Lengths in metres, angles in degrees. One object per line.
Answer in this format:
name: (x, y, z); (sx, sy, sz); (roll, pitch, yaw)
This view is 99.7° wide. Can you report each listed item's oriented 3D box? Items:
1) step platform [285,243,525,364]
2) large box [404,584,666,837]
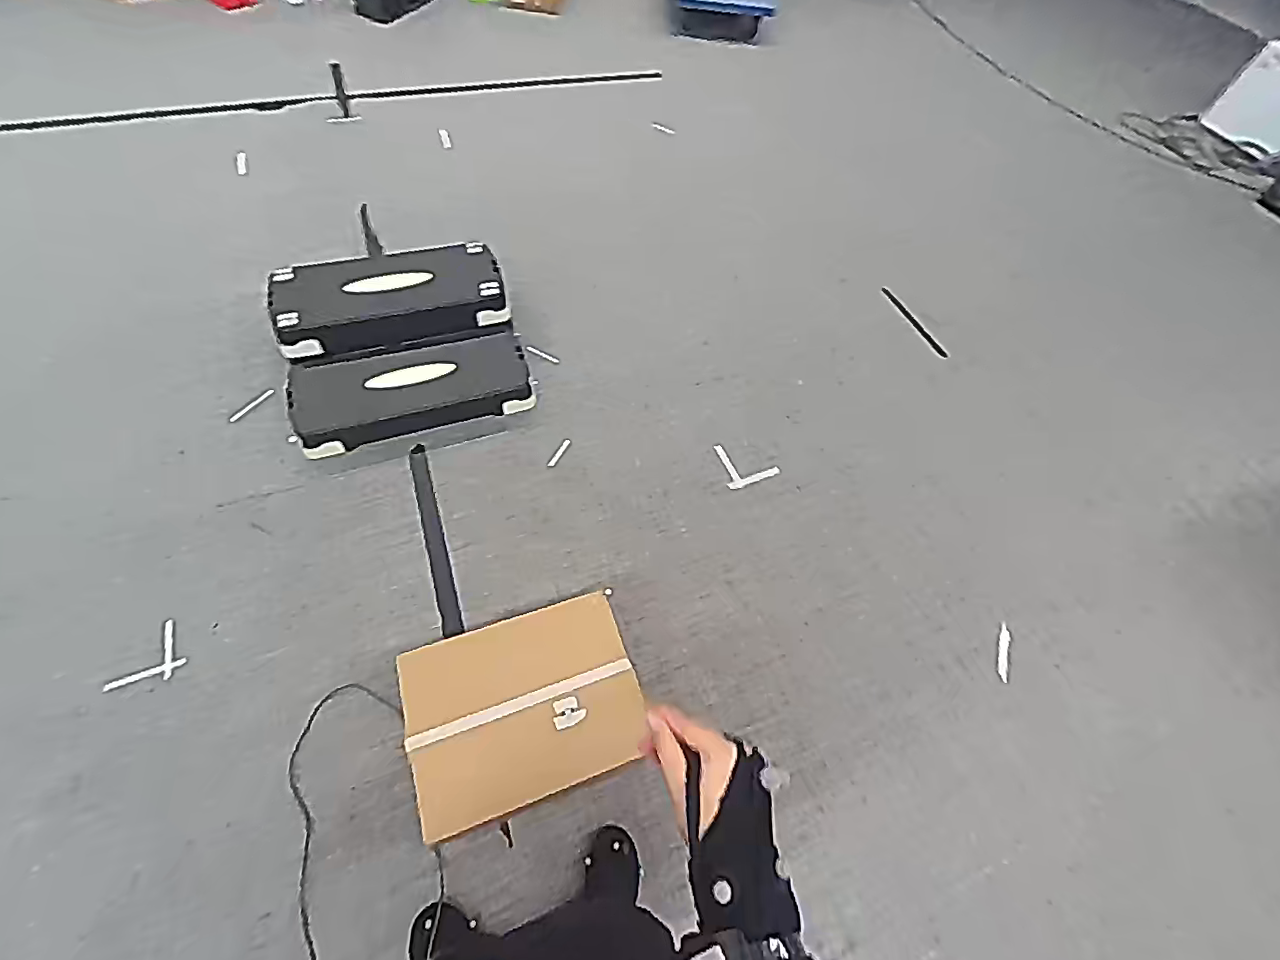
step platform: (-0.718, -0.569, 1.708); (0.684, 0.204, 0.286); (-9, 60, -13)
large box: (-0.206, 0.459, 1.079); (0.408, 0.320, 0.320); (-14, 61, -16)
